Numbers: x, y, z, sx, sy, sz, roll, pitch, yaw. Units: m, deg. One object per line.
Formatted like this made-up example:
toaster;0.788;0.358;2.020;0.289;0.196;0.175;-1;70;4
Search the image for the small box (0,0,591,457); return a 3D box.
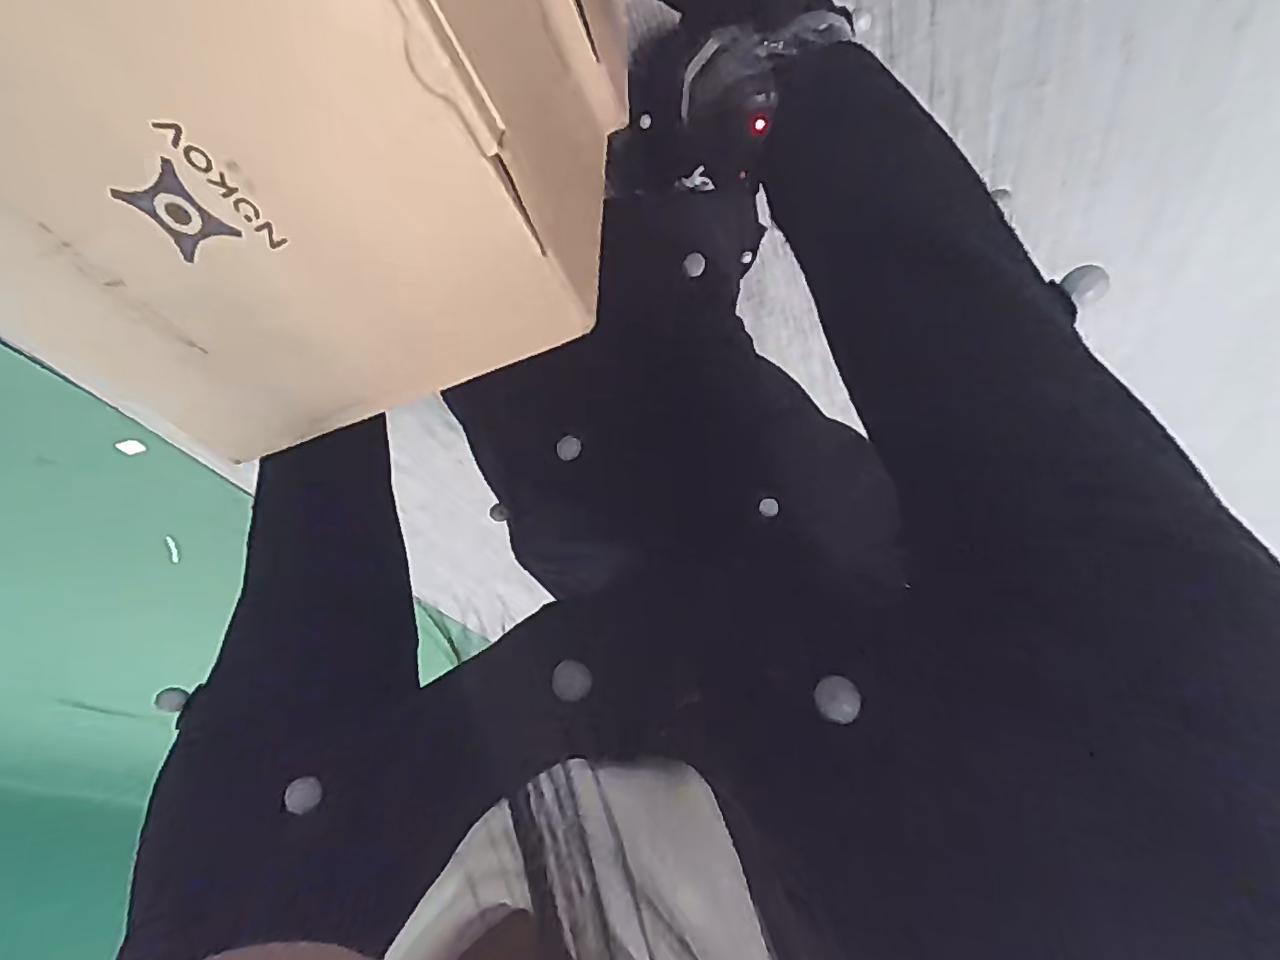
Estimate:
small box;-0.128;-0.140;0.205;0.179;0.176;0.168;-14;139;19
